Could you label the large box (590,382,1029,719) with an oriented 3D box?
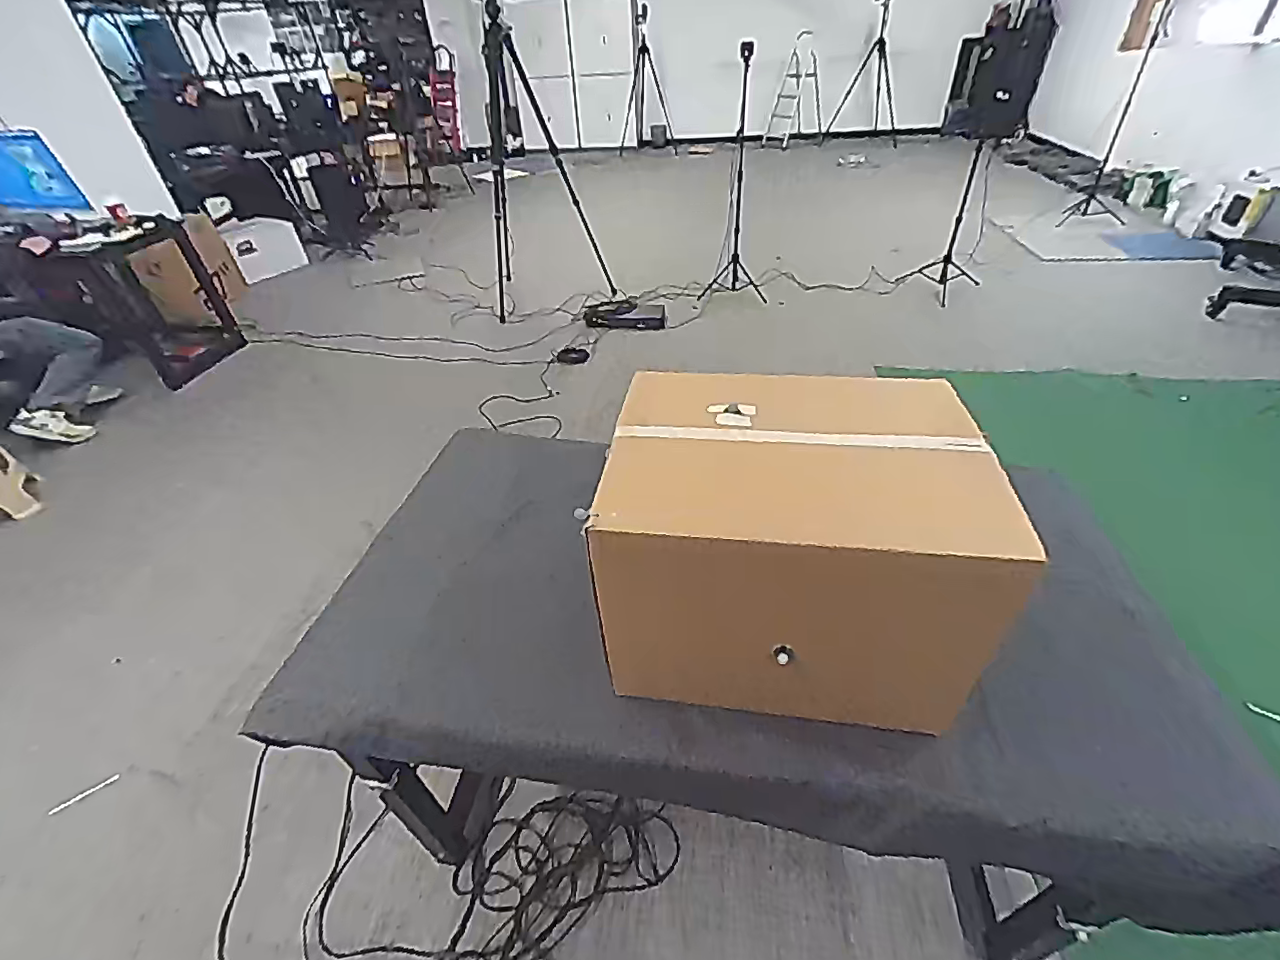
[{"bbox_3d":[0.179,0.082,0.707,0.408,0.320,0.320,2,39,9],"label":"large box"}]
